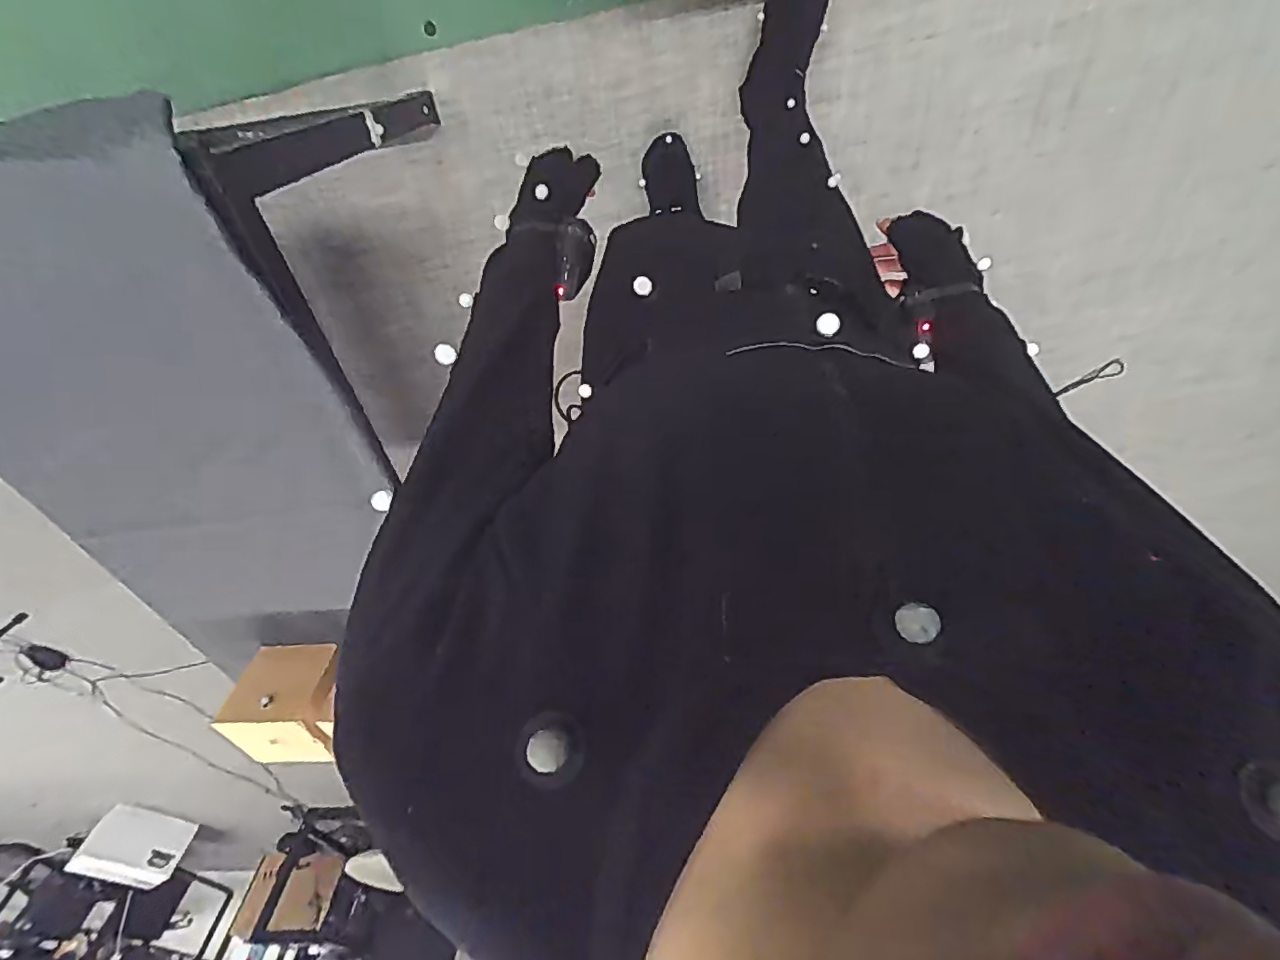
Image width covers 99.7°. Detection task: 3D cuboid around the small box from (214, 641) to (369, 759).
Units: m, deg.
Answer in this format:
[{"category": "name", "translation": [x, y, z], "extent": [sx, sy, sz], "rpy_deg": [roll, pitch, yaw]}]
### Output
[{"category": "small box", "translation": [-0.697, 0.446, 1.105], "extent": [0.179, 0.176, 0.168], "rpy_deg": [-4, 130, 5]}]
